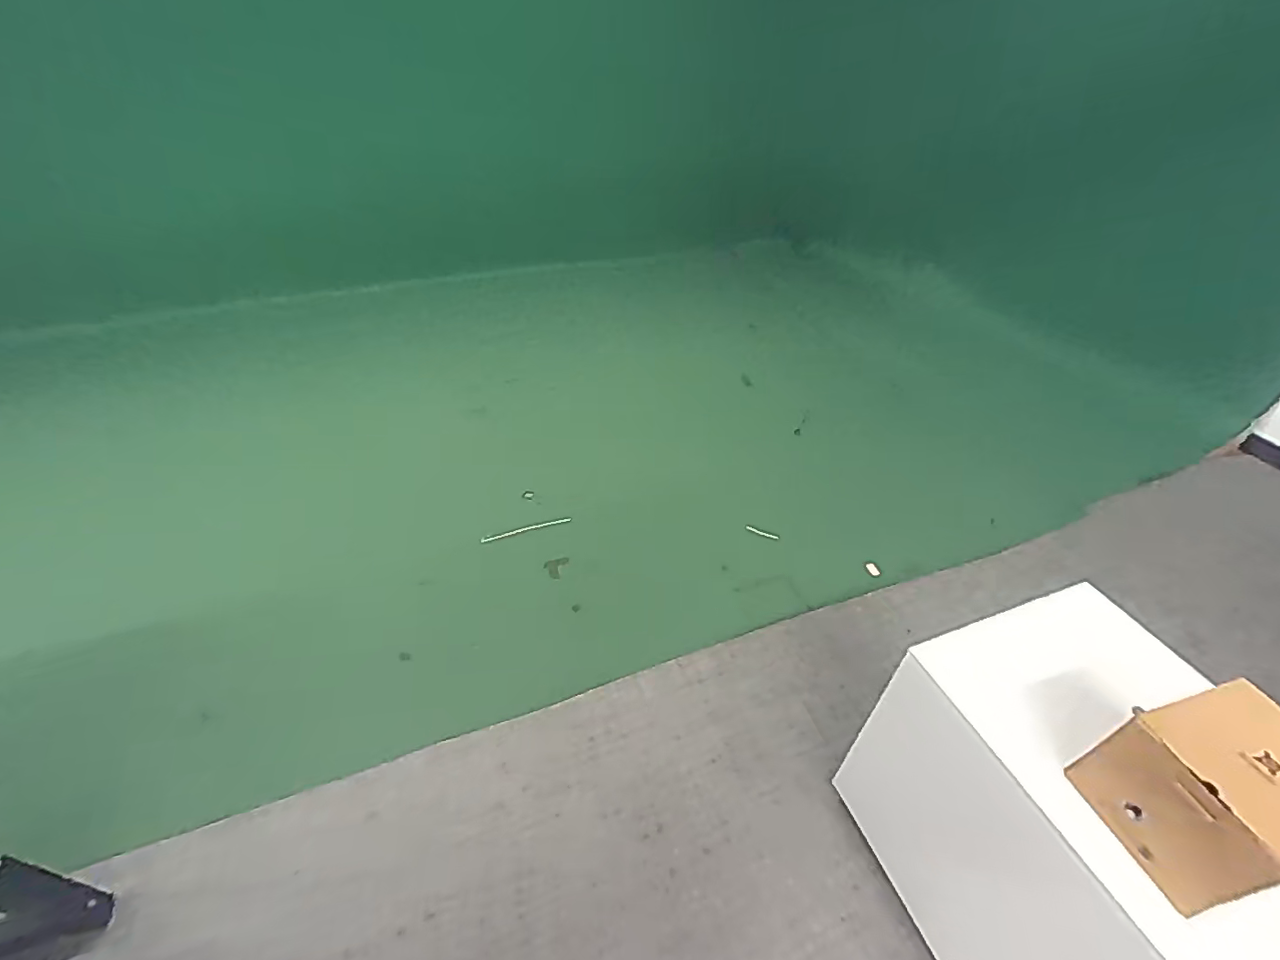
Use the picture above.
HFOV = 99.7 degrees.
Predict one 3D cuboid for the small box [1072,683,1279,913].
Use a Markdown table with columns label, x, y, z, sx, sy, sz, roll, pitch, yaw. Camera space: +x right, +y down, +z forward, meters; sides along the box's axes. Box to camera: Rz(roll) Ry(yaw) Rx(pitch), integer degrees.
| label | x | y | z | sx | sy | sz | roll | pitch | yaw |
| --- | --- | --- | --- | --- | --- | --- | --- | --- | --- |
| small box | 0.681 | 0.376 | 0.644 | 0.179 | 0.176 | 0.168 | -11 | 42 | -13 |
